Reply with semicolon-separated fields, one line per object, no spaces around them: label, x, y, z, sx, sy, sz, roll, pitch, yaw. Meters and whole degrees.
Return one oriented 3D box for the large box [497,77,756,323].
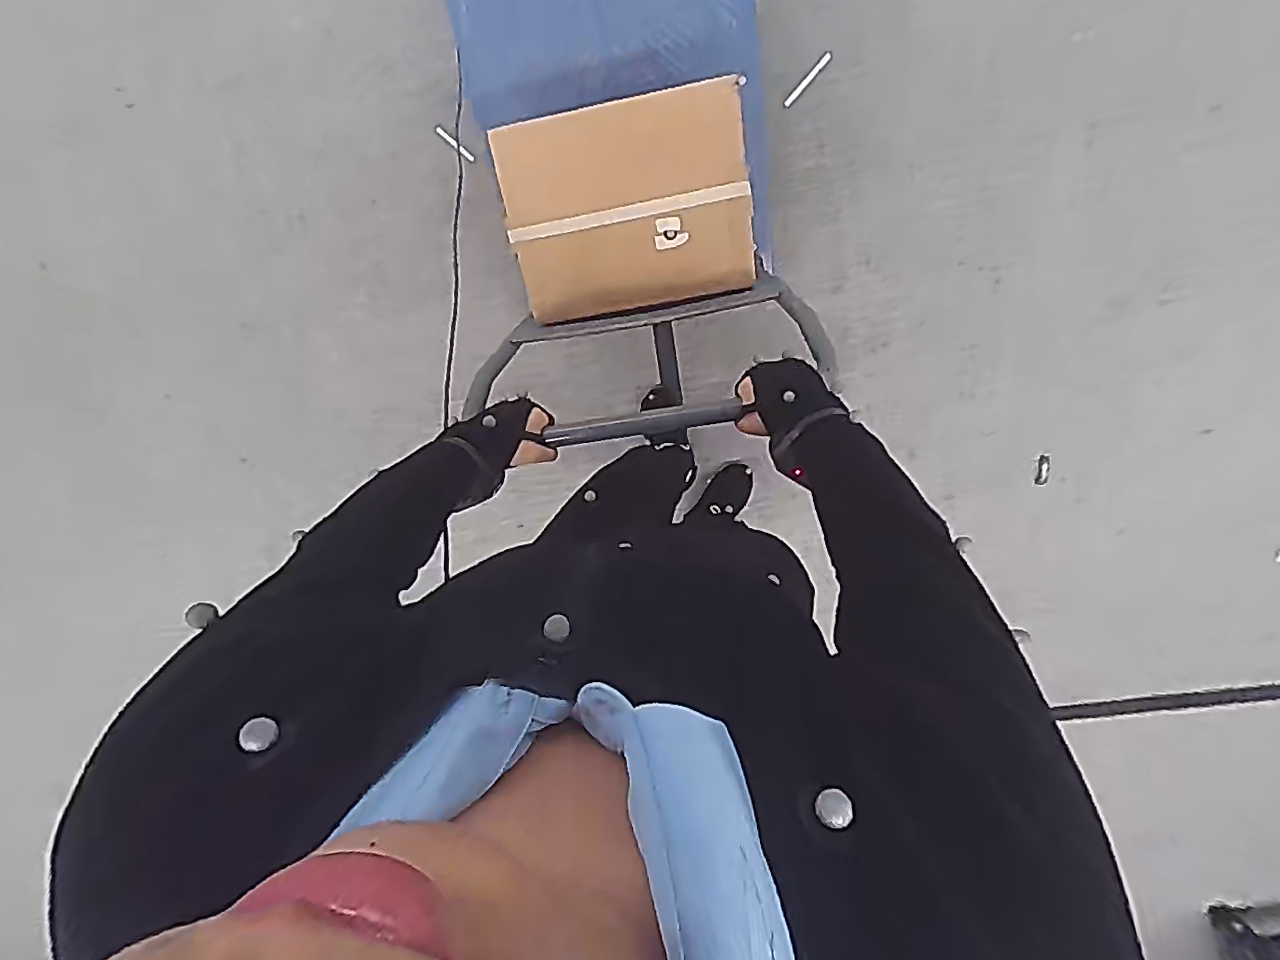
large box;-0.012;-0.522;1.059;0.408;0.320;0.320;-9;115;6
